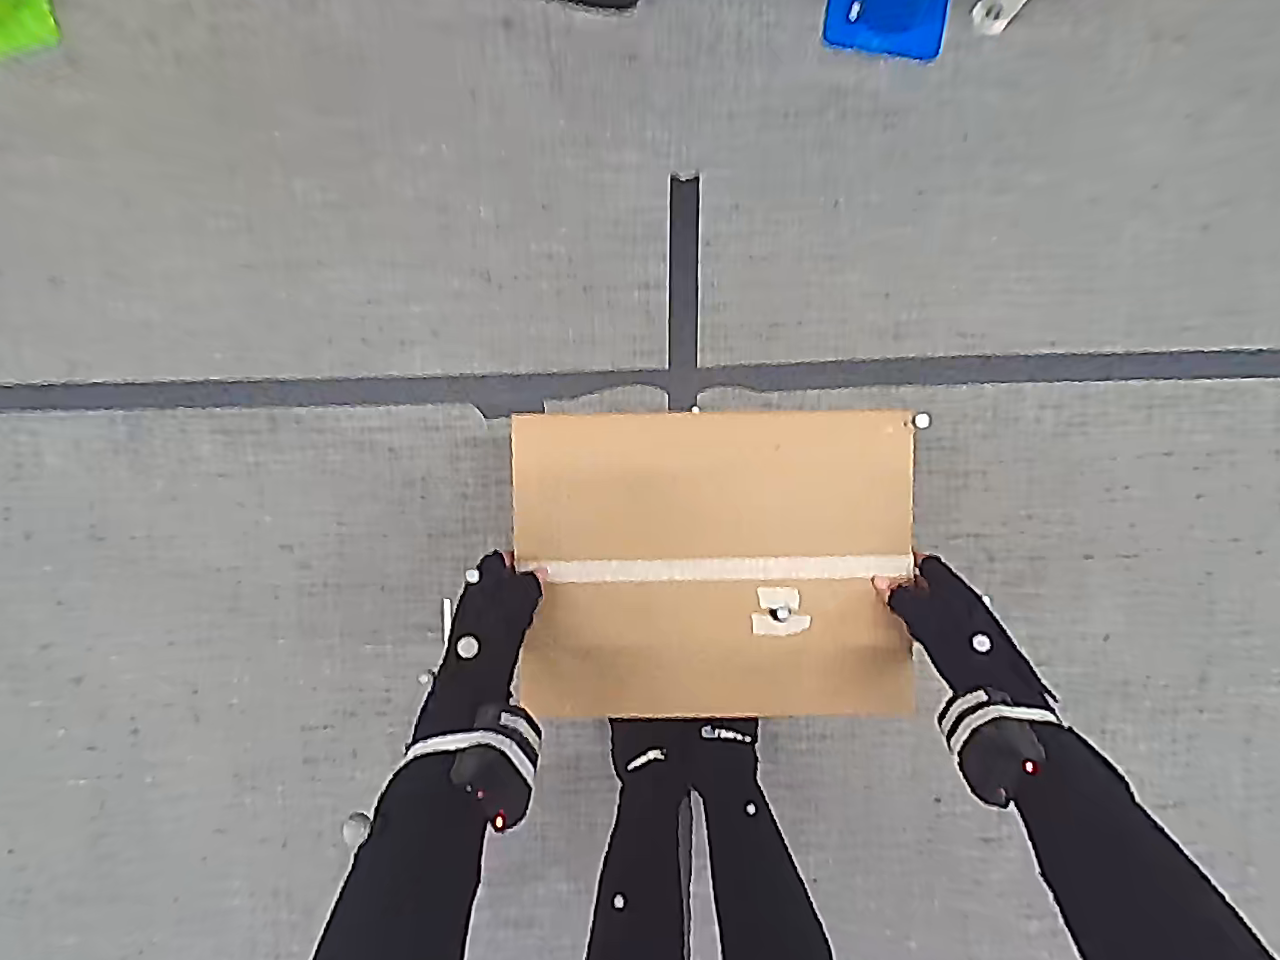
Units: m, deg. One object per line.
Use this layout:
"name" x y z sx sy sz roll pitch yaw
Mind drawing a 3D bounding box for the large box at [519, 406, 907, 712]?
"large box" 0.077 0.079 0.712 0.408 0.320 0.320 -2 93 0
